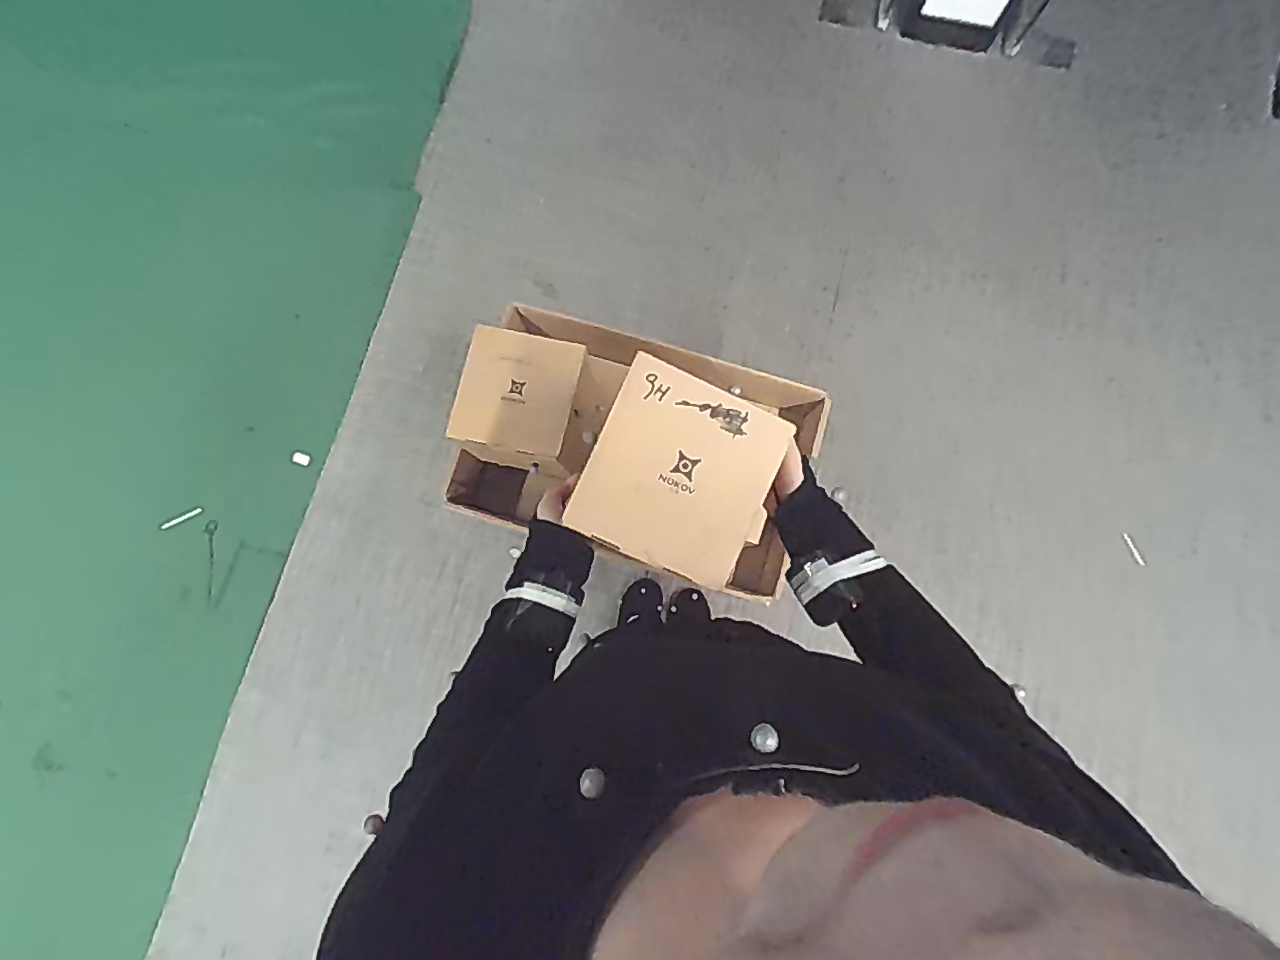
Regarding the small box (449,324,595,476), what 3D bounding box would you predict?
[{"bbox_3d":[-0.171,-0.114,0.845,0.168,0.176,0.179,13,81,2],"label":"small box"}]
